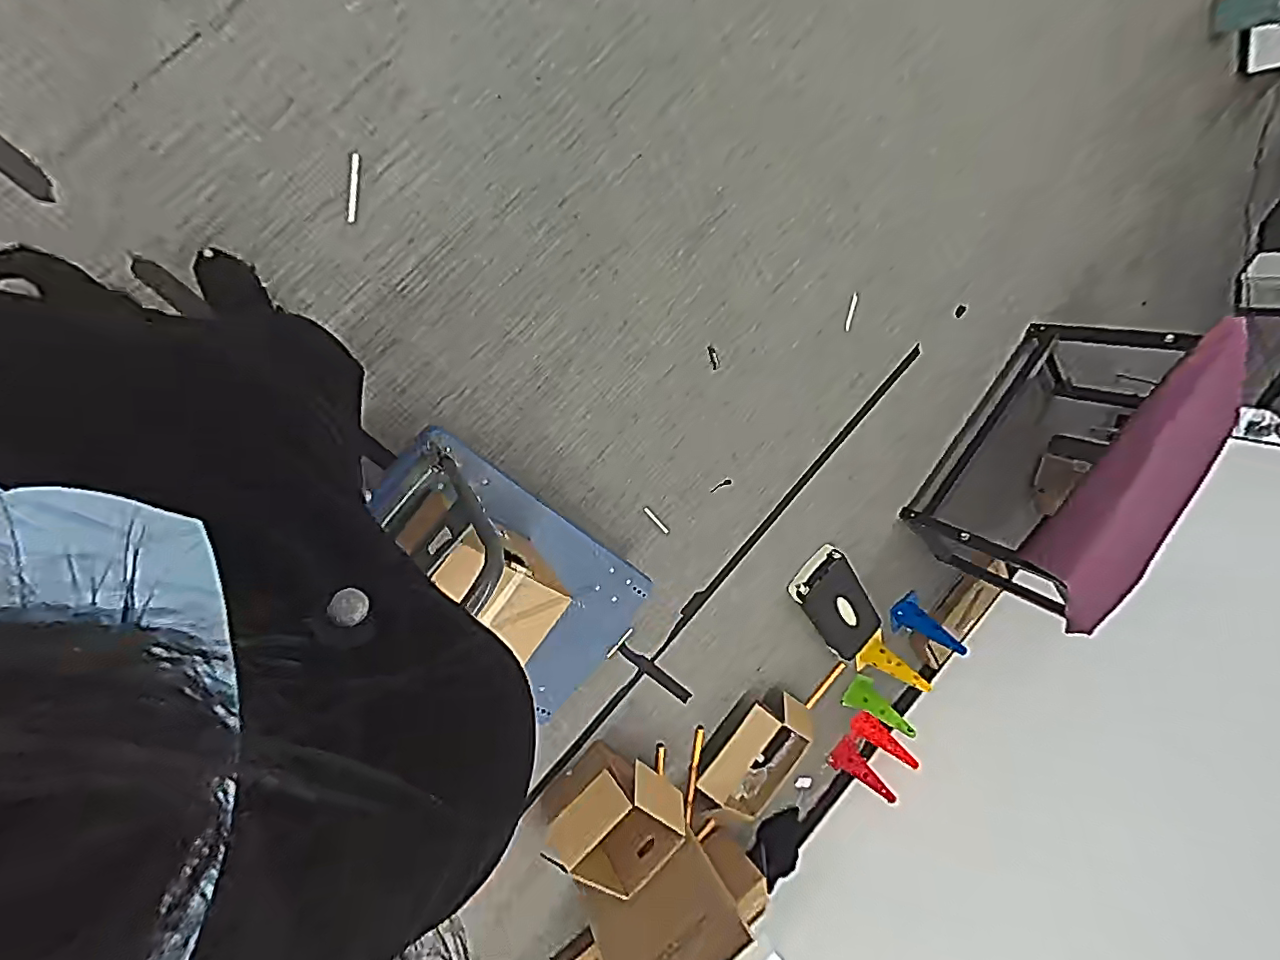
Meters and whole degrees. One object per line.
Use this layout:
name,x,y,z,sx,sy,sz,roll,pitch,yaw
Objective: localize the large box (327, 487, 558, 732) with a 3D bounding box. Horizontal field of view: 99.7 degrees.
large box,-0.468,0.292,1.264,0.320,0.320,0.408,38,89,-35
